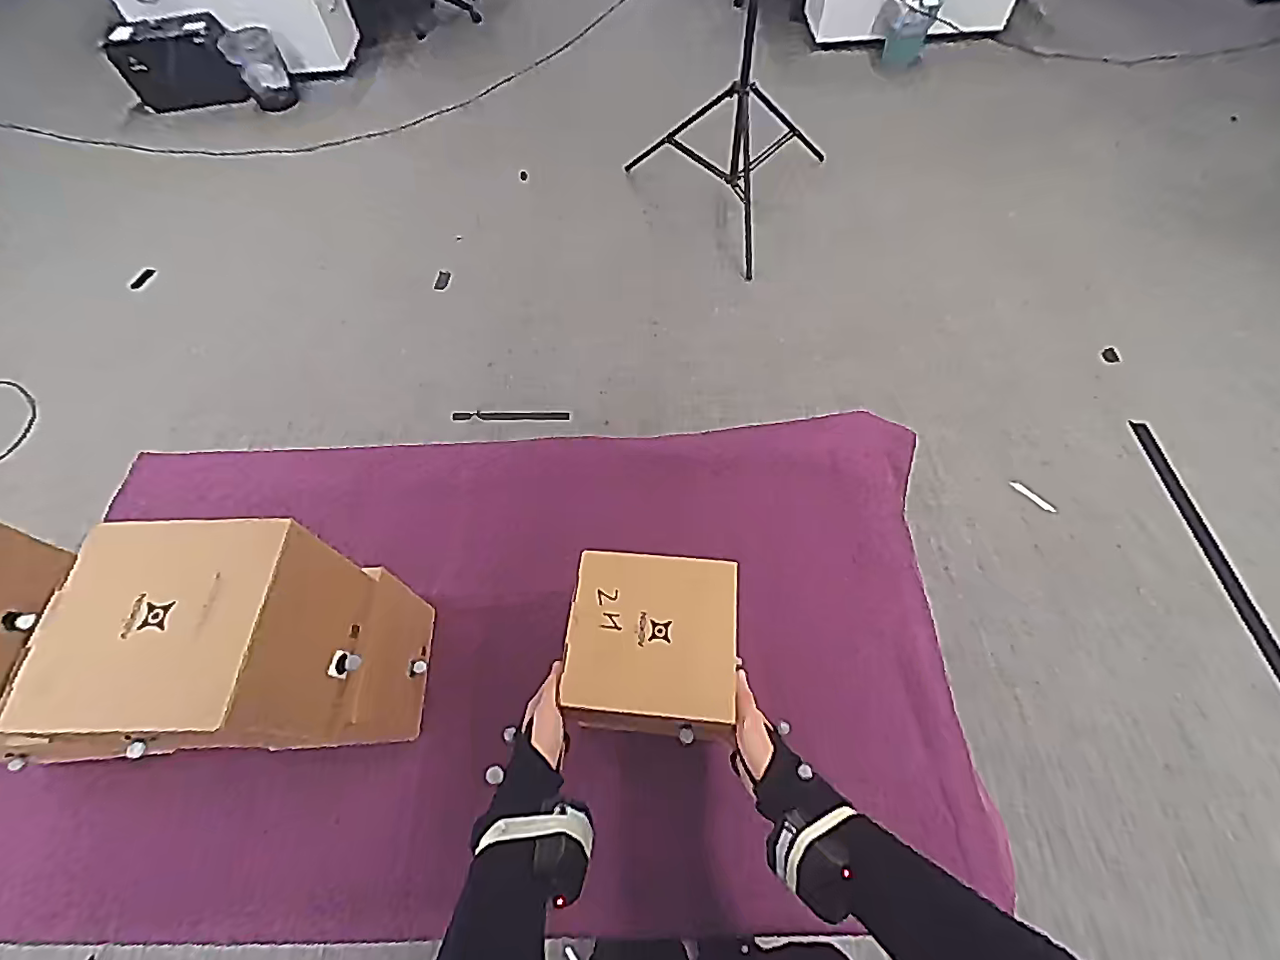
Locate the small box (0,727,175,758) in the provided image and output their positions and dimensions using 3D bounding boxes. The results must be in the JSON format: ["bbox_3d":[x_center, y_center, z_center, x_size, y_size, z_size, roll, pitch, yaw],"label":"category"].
[{"bbox_3d":[-0.662,0.229,0.645,0.168,0.176,0.179,-5,59,0],"label":"small box"}]

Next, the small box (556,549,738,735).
[{"bbox_3d":[0.015,0.195,0.630,0.179,0.176,0.168,4,60,5],"label":"small box"}]

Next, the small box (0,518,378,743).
[{"bbox_3d":[-0.375,0.144,0.493,0.179,0.176,0.168,-1,61,1],"label":"small box"}]

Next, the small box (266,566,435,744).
[{"bbox_3d":[-0.368,0.213,0.639,0.179,0.176,0.168,-4,60,0],"label":"small box"}]
